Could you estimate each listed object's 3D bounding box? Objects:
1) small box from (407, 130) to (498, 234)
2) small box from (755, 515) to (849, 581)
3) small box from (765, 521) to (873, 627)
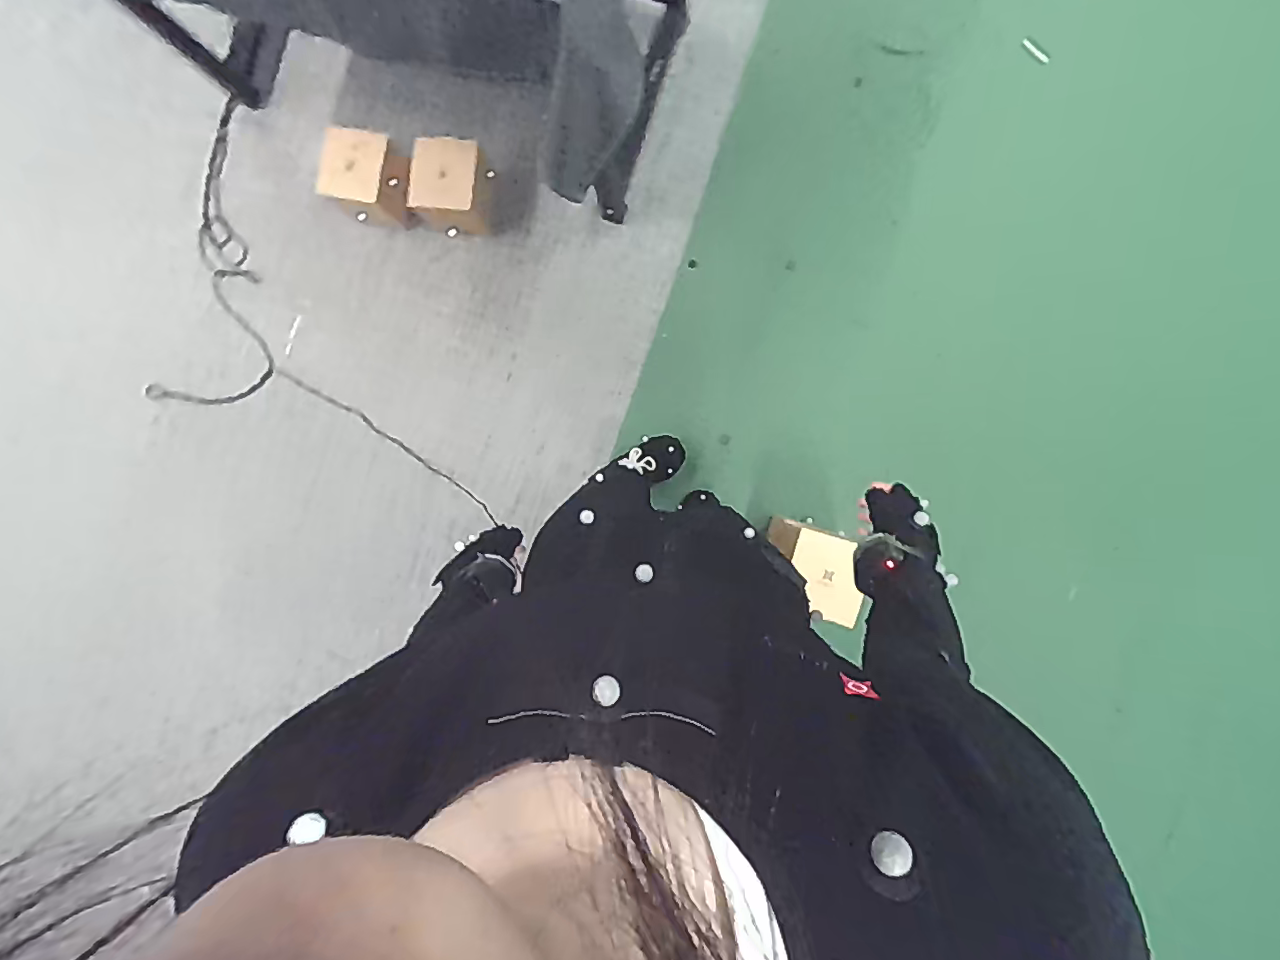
[{"bbox_3d":[-0.483,-0.773,1.415,0.168,0.176,0.179,8,92,5],"label":"small box"},{"bbox_3d":[0.405,0.192,1.379,0.179,0.176,0.168,18,94,5],"label":"small box"},{"bbox_3d":[0.392,0.201,1.217,0.168,0.176,0.179,17,93,3],"label":"small box"}]
